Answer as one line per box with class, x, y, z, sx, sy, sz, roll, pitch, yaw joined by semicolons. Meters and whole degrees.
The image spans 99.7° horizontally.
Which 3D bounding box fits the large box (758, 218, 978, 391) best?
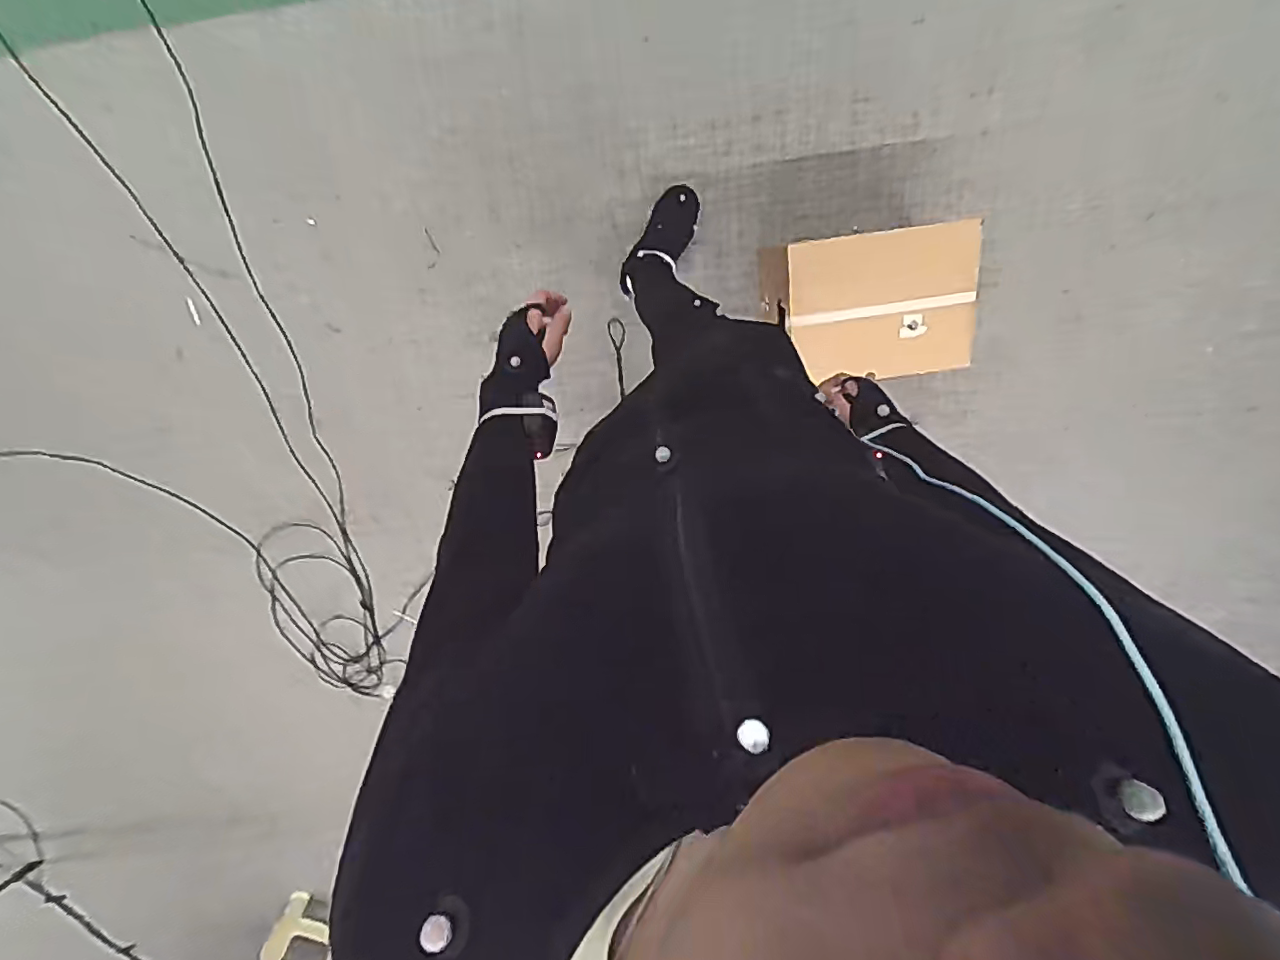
large box;0.526;-0.423;1.317;0.408;0.320;0.320;-7;111;3
